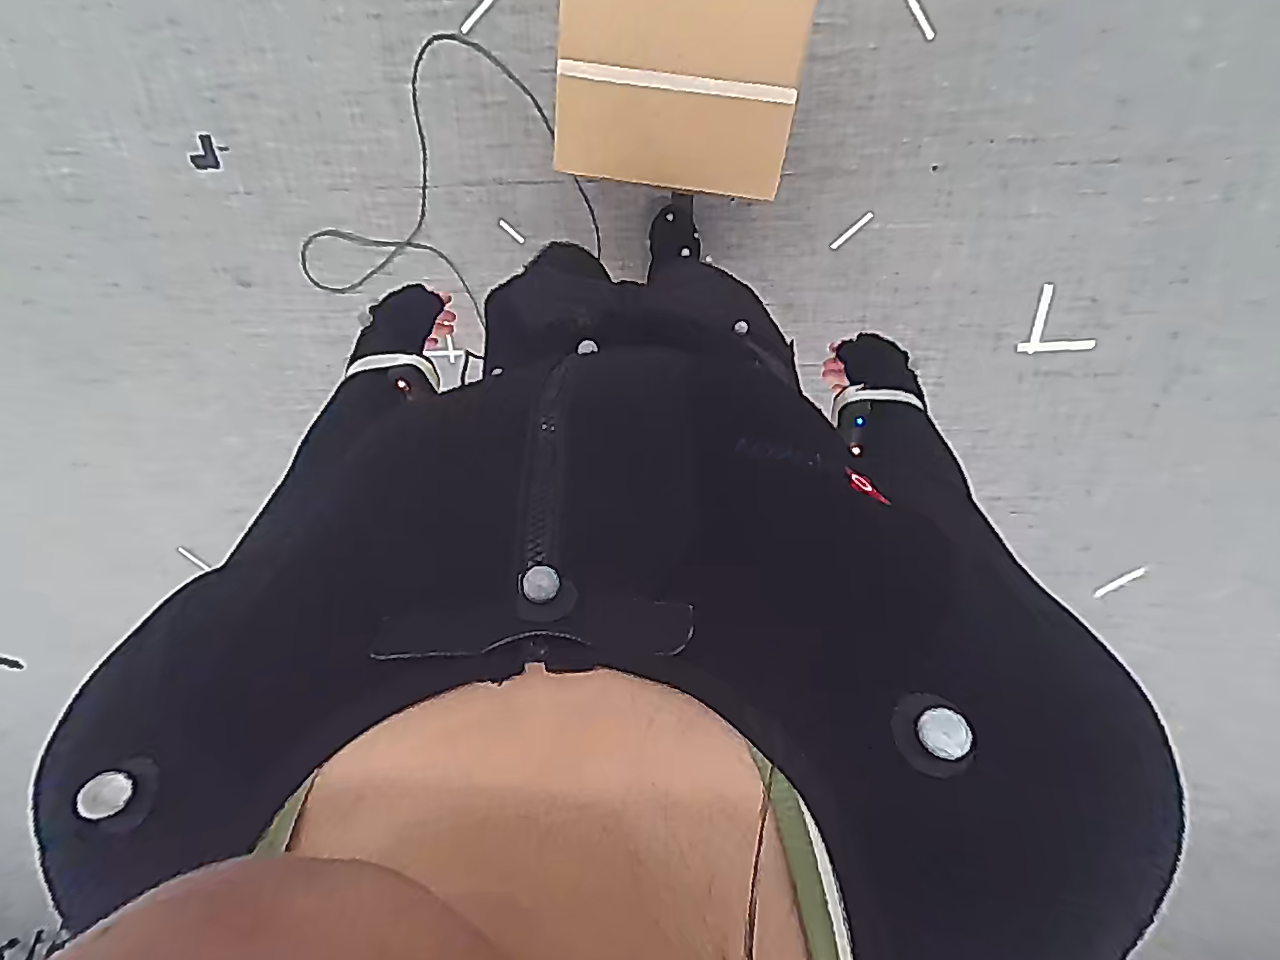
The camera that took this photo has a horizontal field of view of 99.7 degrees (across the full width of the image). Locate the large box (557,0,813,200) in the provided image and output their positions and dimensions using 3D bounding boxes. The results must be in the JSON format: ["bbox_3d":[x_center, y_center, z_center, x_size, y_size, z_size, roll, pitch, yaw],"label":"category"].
[{"bbox_3d":[0.073,-0.731,1.034,0.408,0.320,0.320,8,117,0],"label":"large box"}]
